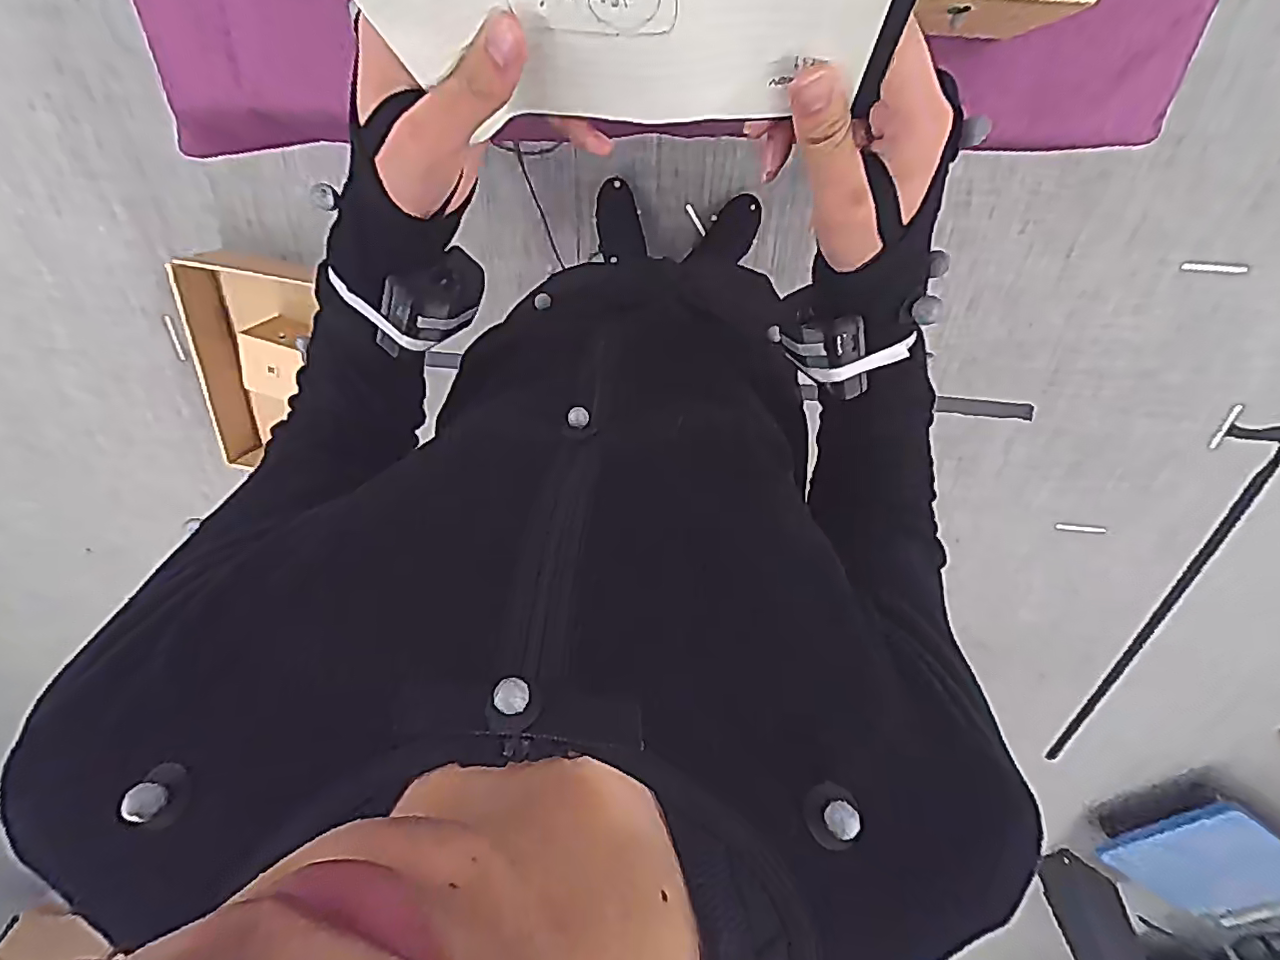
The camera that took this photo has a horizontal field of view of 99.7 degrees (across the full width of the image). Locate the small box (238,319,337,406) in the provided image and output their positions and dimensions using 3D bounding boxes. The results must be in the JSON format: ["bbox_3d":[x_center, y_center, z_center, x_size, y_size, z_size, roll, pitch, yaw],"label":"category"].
[{"bbox_3d":[-0.982,-0.336,1.524,0.179,0.176,0.168,16,122,-5],"label":"small box"}]

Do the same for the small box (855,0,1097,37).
[{"bbox_3d":[0.314,-0.518,0.483,0.179,0.176,0.168,6,122,2],"label":"small box"}]
